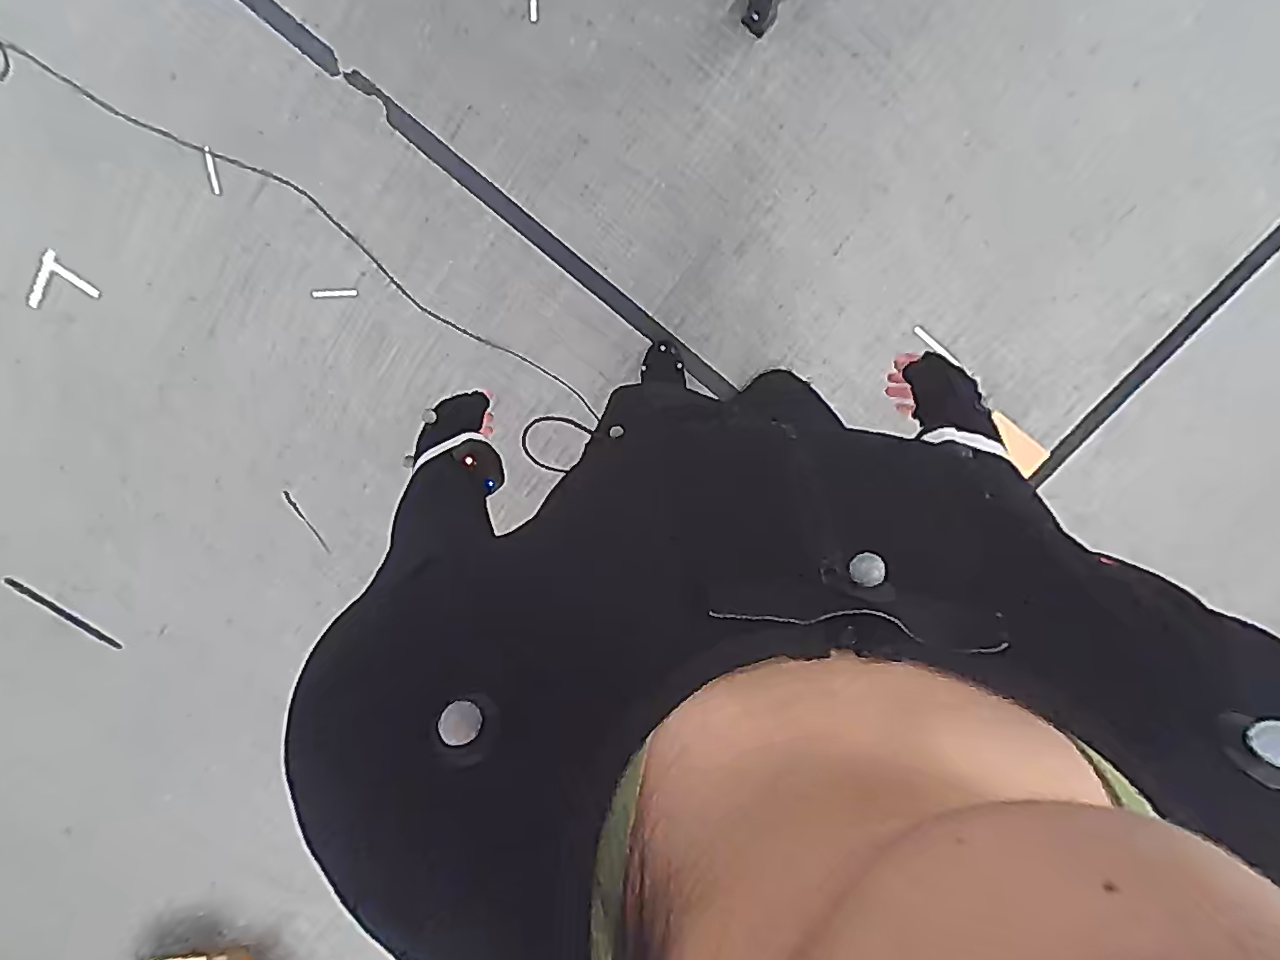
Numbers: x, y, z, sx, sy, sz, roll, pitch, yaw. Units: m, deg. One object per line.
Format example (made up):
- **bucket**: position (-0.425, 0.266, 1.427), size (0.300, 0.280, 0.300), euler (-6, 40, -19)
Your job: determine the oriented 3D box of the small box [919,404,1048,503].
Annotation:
- **small box**: position (0.844, -0.076, 1.350), size (0.179, 0.176, 0.168), euler (36, 105, -8)
